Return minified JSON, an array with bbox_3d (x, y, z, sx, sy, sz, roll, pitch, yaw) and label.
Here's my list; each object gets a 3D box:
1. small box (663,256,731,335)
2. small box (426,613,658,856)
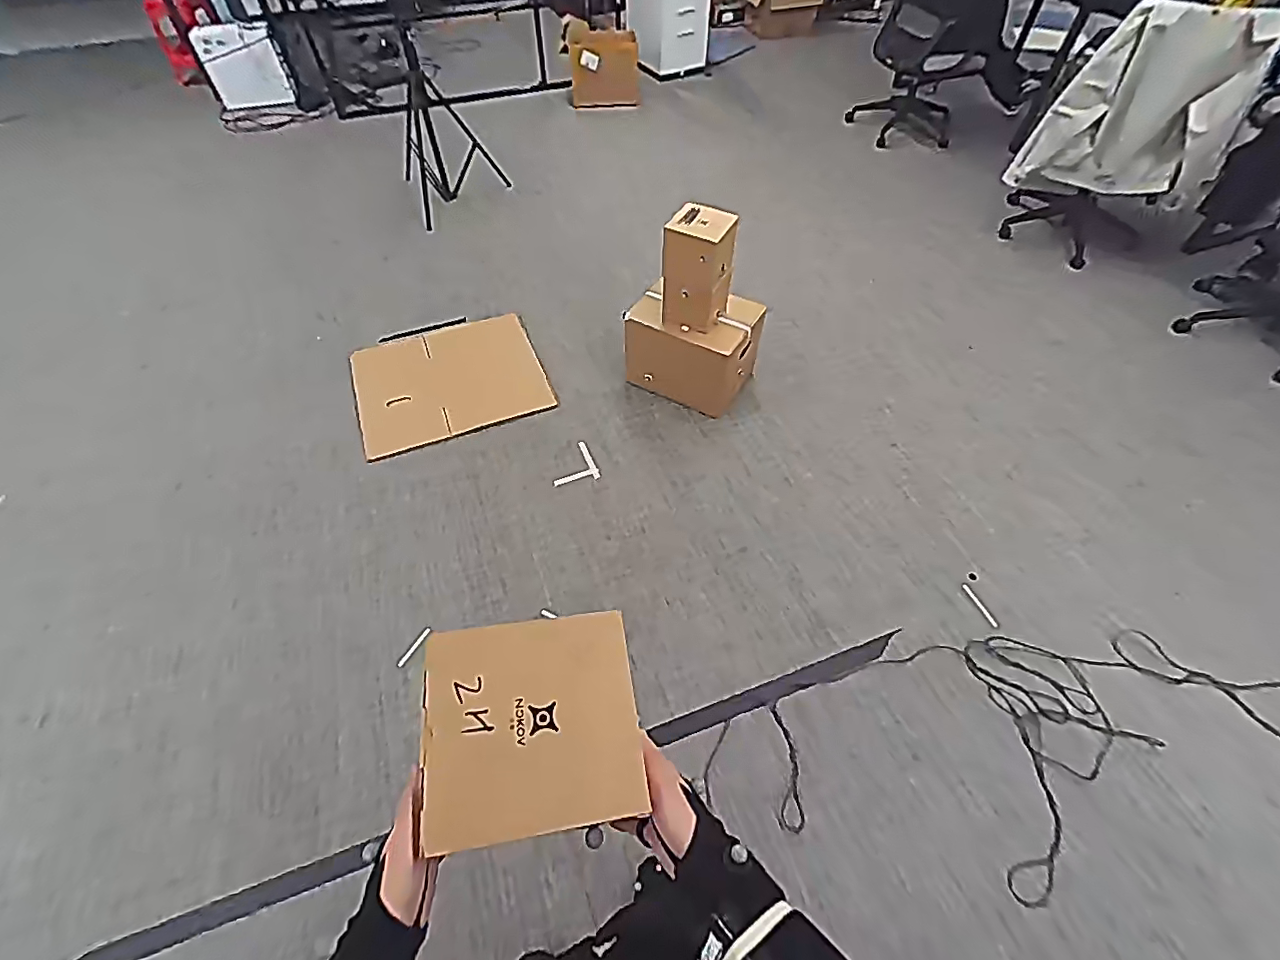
[{"bbox_3d":[0.186,-0.615,1.813,0.179,0.176,0.168,24,58,16],"label":"small box"},{"bbox_3d":[-0.093,0.238,0.513,0.179,0.176,0.168,-4,59,-11],"label":"small box"}]
